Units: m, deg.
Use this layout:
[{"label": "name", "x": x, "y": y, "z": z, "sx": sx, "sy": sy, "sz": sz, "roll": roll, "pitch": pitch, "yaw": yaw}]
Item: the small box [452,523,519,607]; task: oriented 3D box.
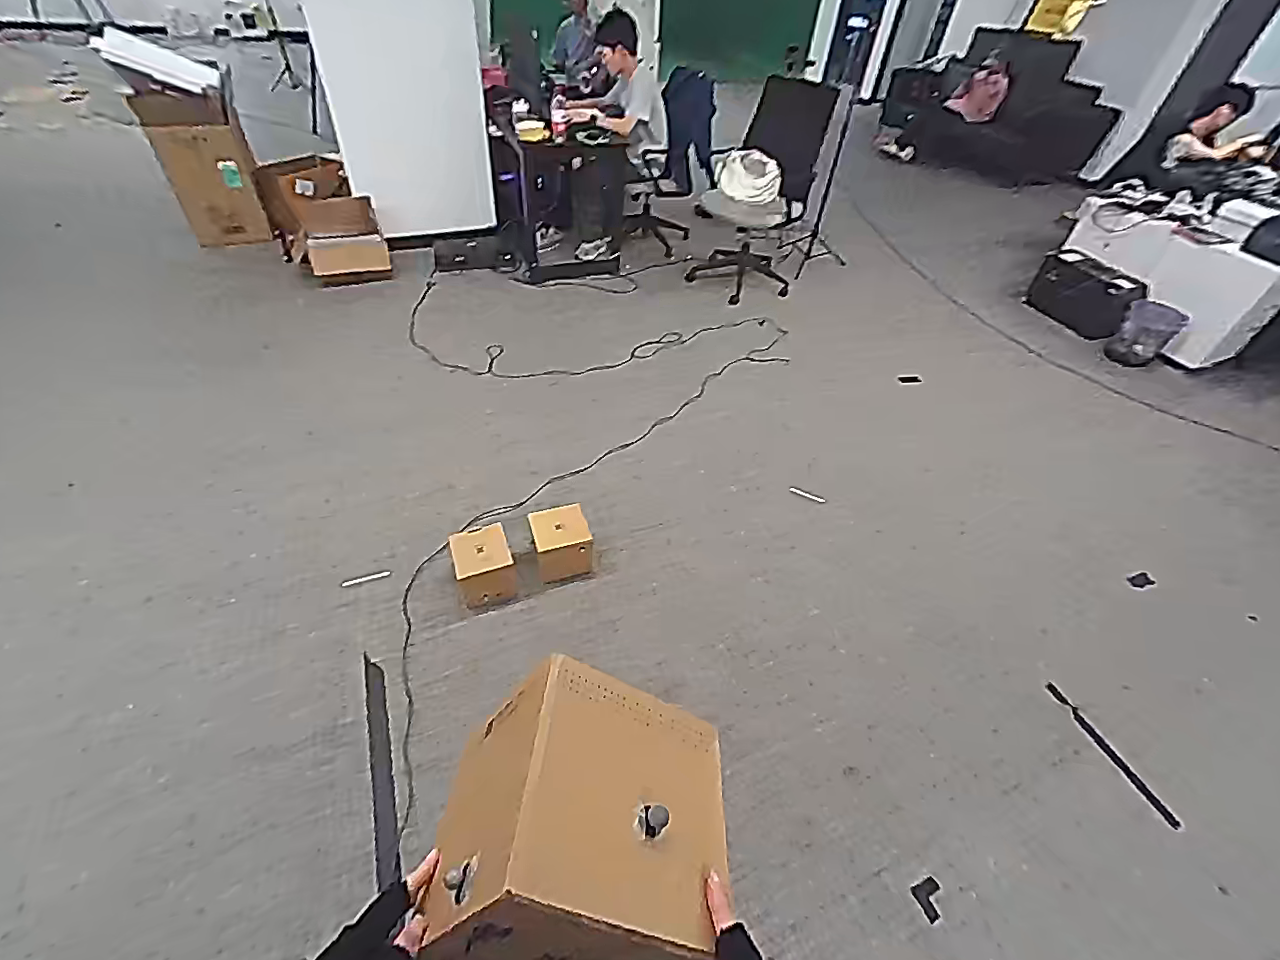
[{"label": "small box", "x": -0.484, "y": 0.266, "z": 1.698, "sx": 0.168, "sy": 0.176, "sz": 0.179, "roll": -14, "pitch": 49, "yaw": -17}]

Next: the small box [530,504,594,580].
[{"label": "small box", "x": -0.255, "y": 0.208, "z": 1.782, "sx": 0.179, "sy": 0.176, "sz": 0.168, "roll": -11, "pitch": 47, "yaw": -18}]

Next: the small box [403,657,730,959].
[{"label": "small box", "x": -0.051, "y": 0.275, "z": 0.440, "sx": 0.179, "sy": 0.168, "sz": 0.176, "roll": 32, "pitch": 30, "yaw": -18}]
